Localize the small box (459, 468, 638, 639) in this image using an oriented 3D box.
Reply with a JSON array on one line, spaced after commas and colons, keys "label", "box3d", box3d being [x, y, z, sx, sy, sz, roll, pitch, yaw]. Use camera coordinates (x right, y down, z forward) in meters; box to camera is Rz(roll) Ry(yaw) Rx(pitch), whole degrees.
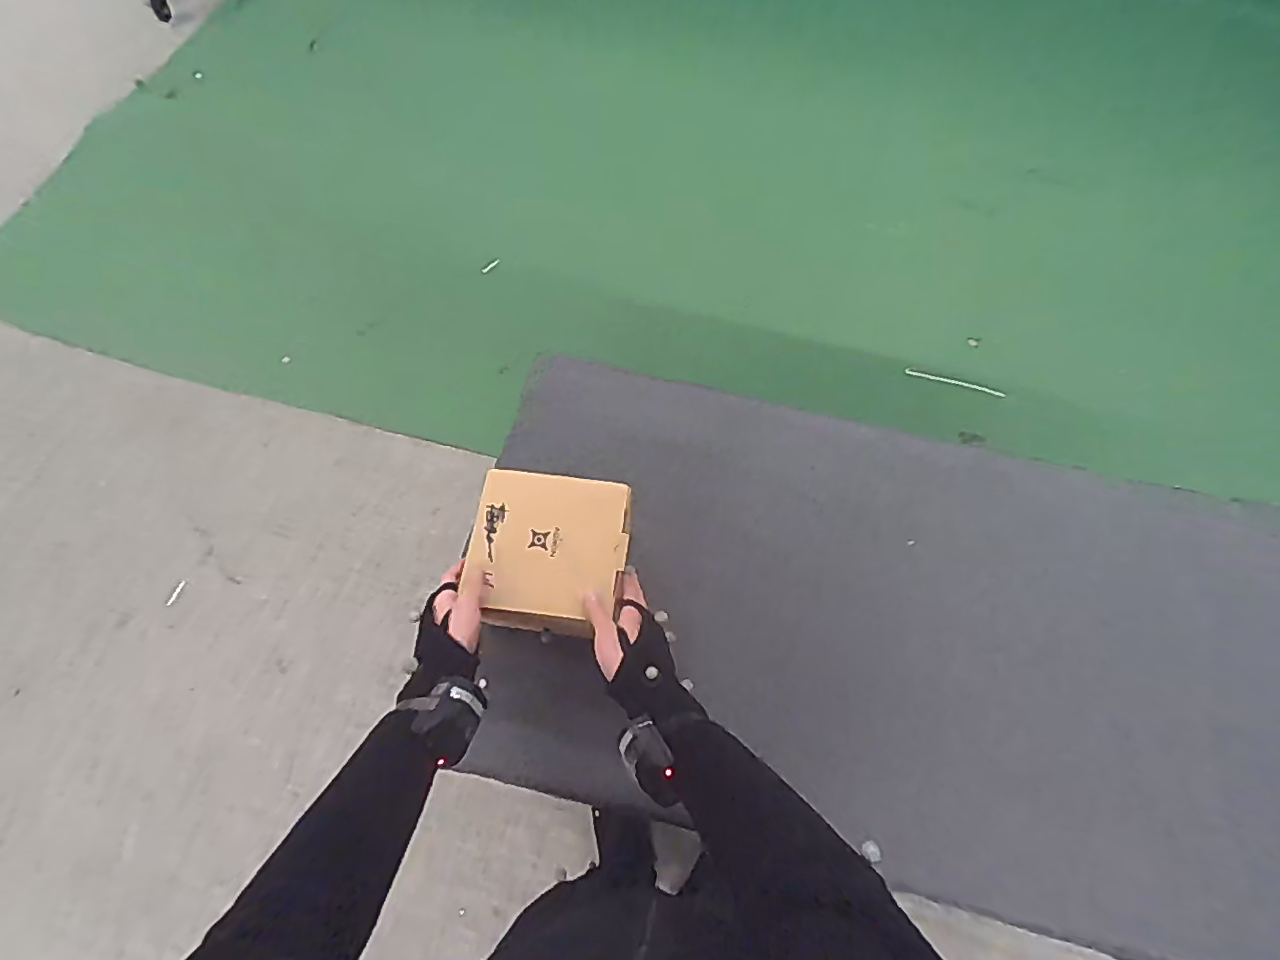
[{"label": "small box", "box3d": [-0.104, 0.102, 0.683, 0.179, 0.176, 0.168, 8, 68, 0]}]
